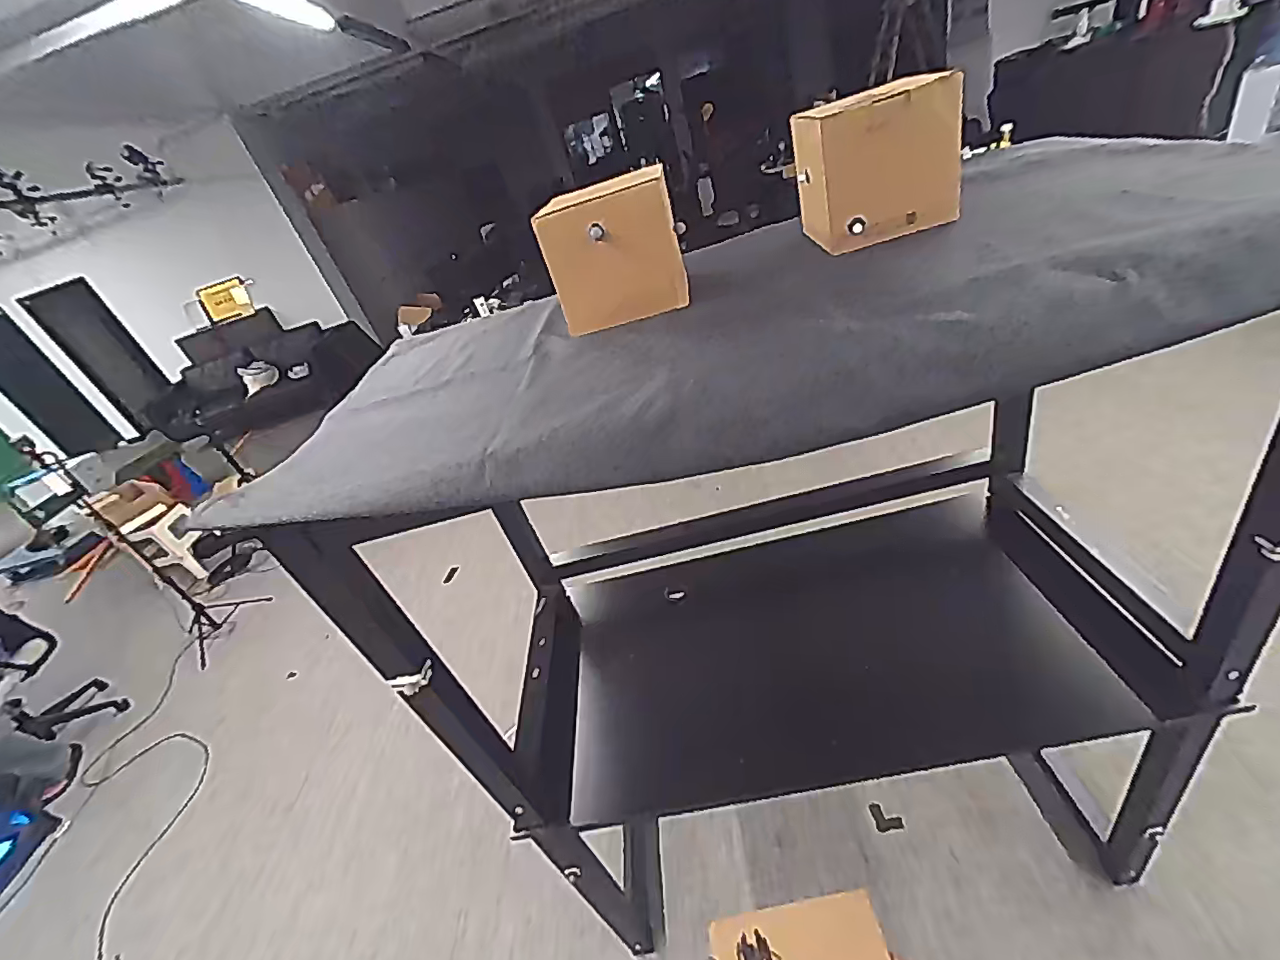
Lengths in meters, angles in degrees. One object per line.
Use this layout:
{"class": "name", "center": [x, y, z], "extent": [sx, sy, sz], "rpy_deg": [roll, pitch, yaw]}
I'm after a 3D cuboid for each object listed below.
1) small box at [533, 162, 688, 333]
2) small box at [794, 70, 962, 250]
{"class": "small box", "center": [-0.028, -0.335, 0.784], "extent": [0.179, 0.176, 0.168], "rpy_deg": [-12, 34, 12]}
{"class": "small box", "center": [0.323, -0.436, 0.751], "extent": [0.168, 0.176, 0.179], "rpy_deg": [-13, 33, 10]}
